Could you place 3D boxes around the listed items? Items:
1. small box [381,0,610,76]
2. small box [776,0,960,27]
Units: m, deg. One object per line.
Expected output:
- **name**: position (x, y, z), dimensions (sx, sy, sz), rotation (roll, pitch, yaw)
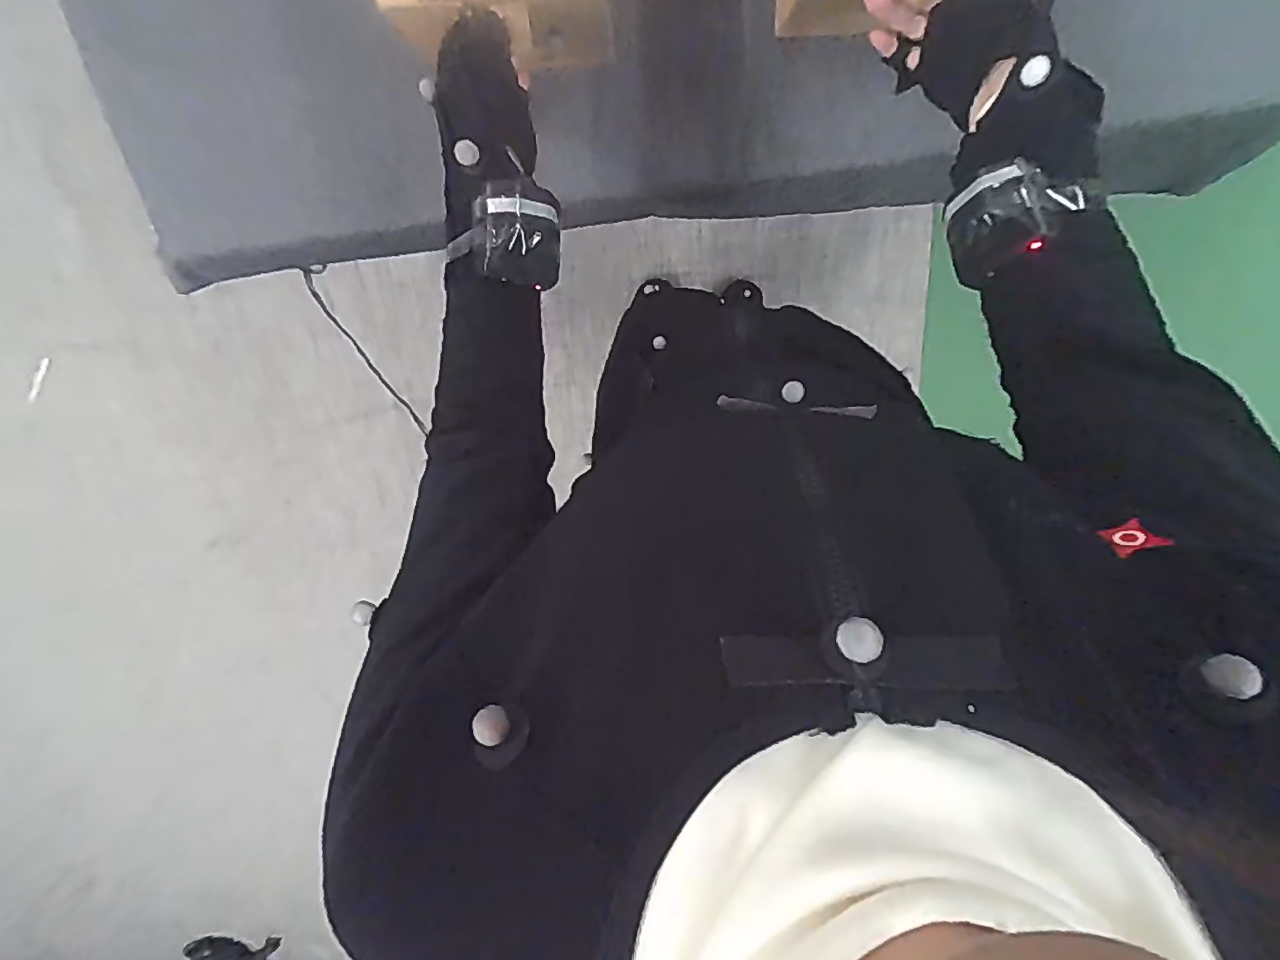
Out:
- **small box**: position (-0.118, -0.456, 0.436), dimensions (0.168, 0.176, 0.179), rotation (-7, 111, 2)
- **small box**: position (0.204, -0.484, 0.417), dimensions (0.168, 0.176, 0.179), rotation (-3, 112, 2)
